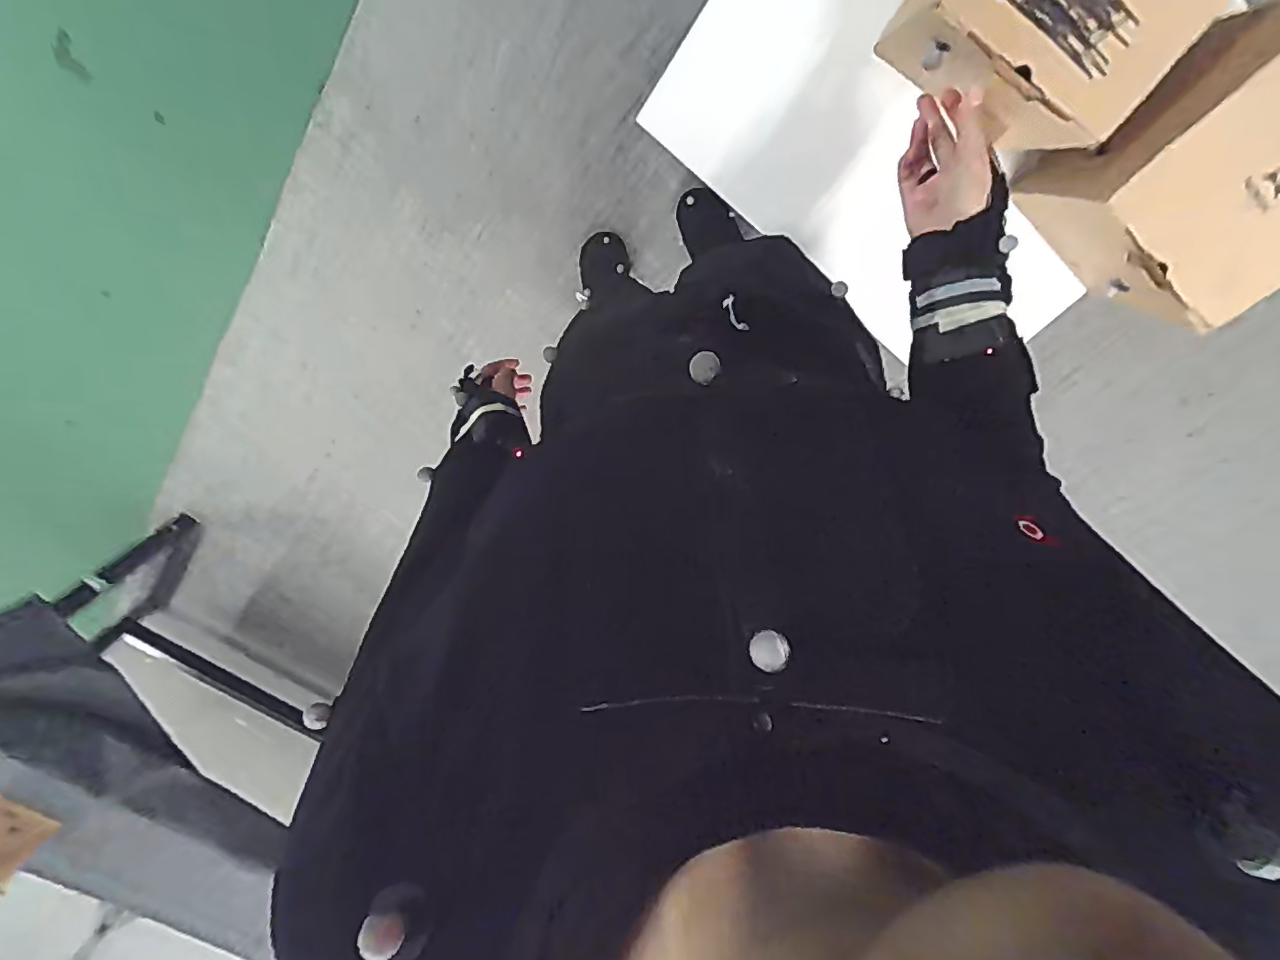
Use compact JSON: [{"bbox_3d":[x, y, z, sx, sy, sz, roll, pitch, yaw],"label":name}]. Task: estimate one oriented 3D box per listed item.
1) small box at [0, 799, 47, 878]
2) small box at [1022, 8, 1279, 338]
[{"bbox_3d":[-1.524,0.850,1.222,0.179,0.176,0.168,-32,111,22],"label":"small box"},{"bbox_3d":[0.488,-0.263,0.481,0.168,0.176,0.179,37,117,-15],"label":"small box"}]
